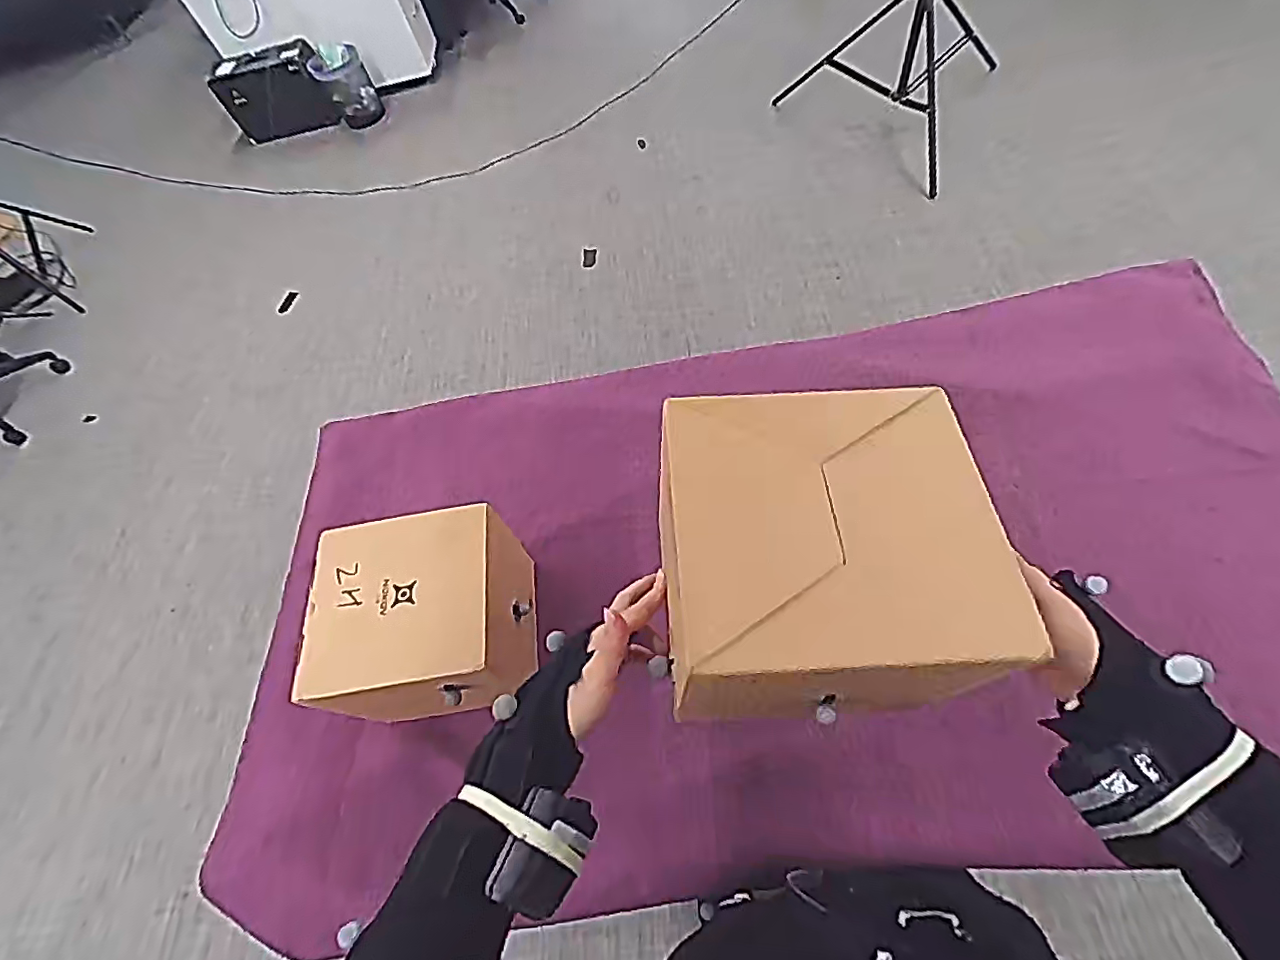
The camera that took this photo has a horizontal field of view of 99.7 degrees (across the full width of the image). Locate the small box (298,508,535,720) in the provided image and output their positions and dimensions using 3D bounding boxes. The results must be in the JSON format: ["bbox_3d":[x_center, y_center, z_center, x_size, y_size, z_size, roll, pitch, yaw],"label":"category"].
[{"bbox_3d":[-0.215,0.149,0.577,0.179,0.176,0.168,-10,59,2],"label":"small box"}]
